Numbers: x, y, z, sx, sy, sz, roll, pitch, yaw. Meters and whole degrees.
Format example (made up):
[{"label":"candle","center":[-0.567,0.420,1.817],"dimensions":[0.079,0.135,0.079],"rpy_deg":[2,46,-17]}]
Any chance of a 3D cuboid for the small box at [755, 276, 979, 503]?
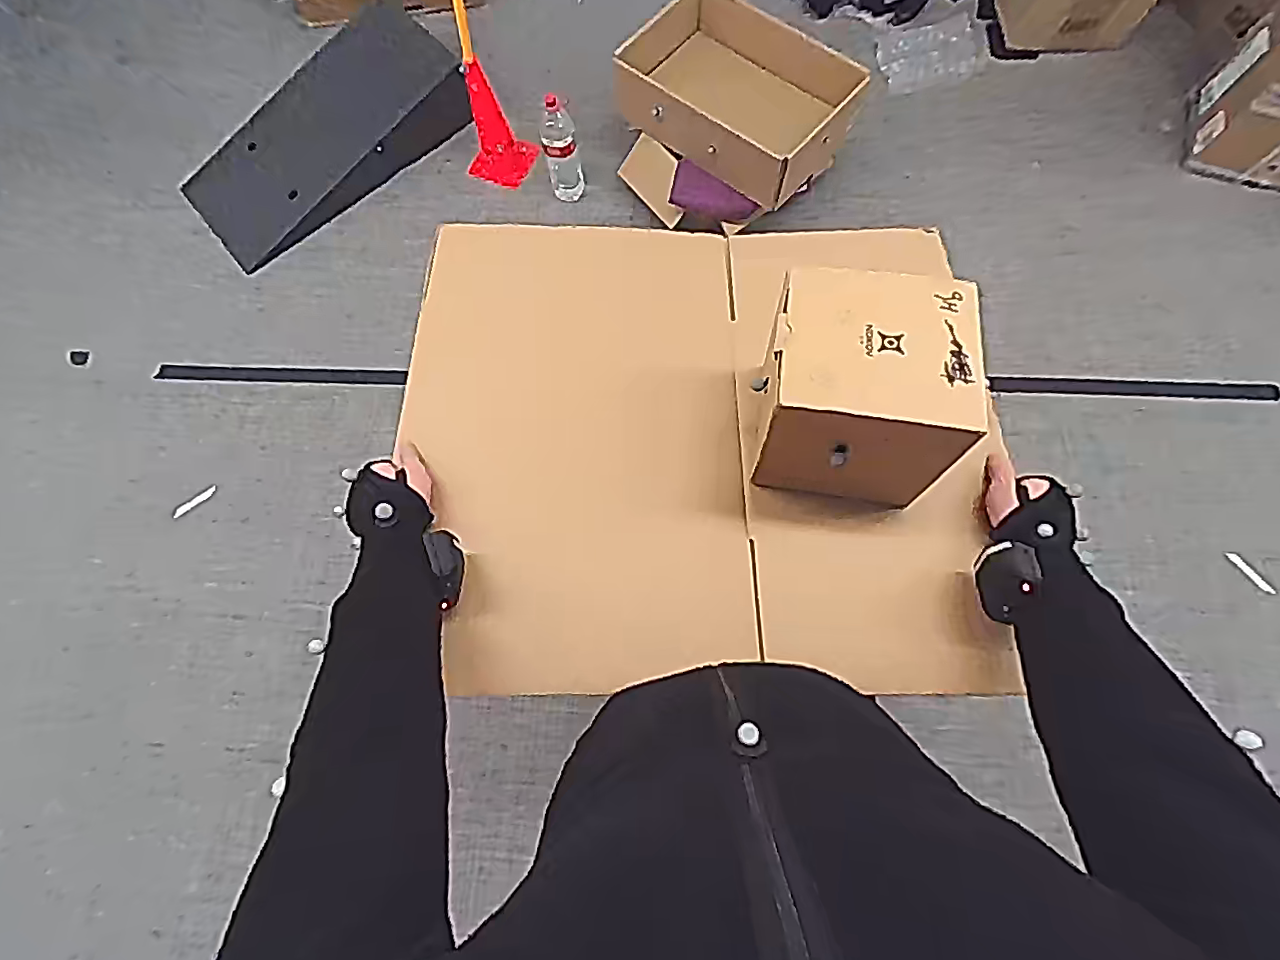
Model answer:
[{"label":"small box","center":[0.222,-0.087,0.570],"dimensions":[0.179,0.176,0.168],"rpy_deg":[8,67,8]}]
